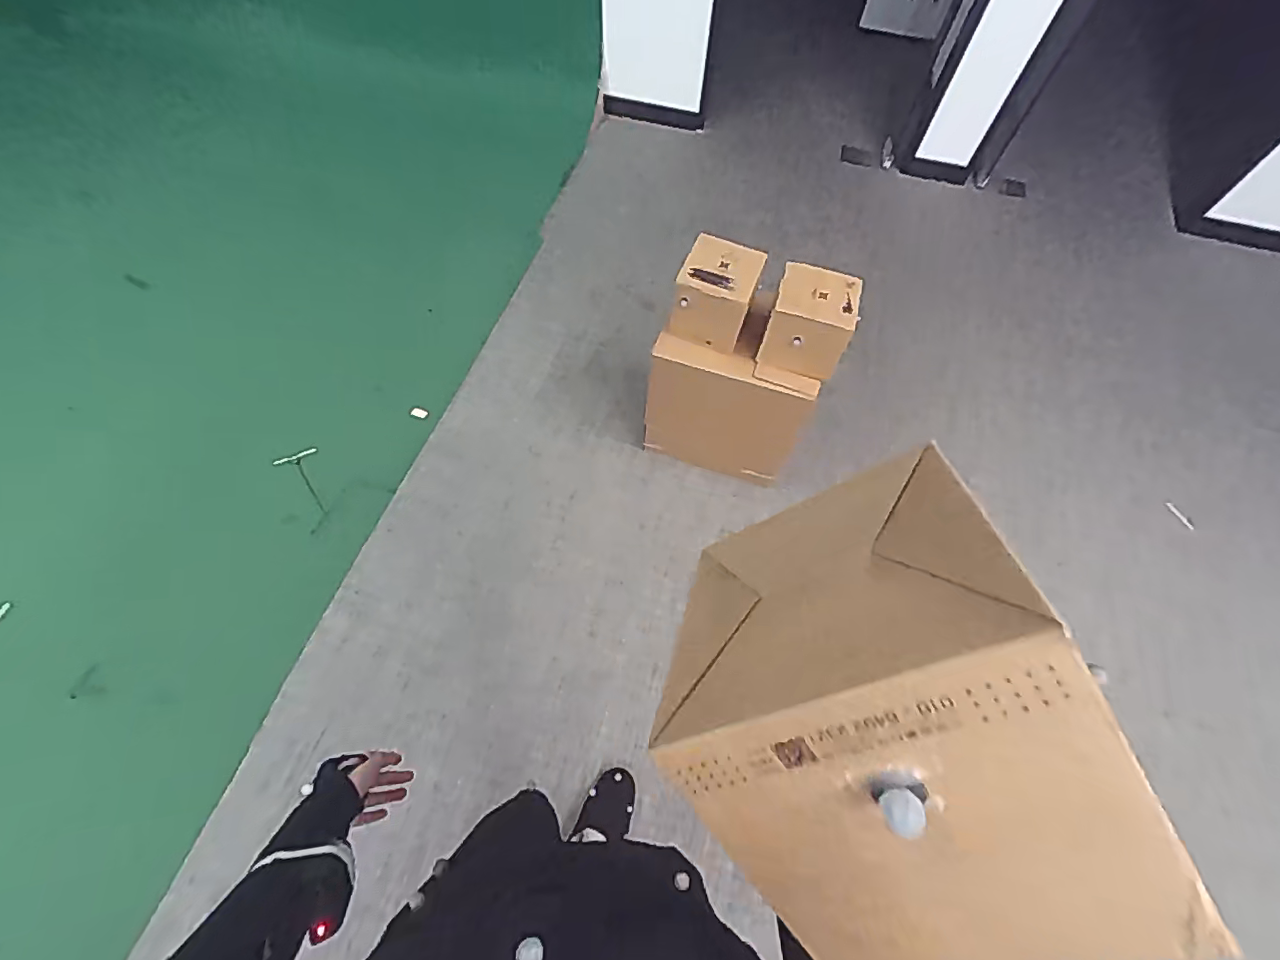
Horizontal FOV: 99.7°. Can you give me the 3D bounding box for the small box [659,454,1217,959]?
[{"bbox_3d":[0.134,0.109,0.298,0.176,0.168,0.179,55,25,-9],"label":"small box"}]
